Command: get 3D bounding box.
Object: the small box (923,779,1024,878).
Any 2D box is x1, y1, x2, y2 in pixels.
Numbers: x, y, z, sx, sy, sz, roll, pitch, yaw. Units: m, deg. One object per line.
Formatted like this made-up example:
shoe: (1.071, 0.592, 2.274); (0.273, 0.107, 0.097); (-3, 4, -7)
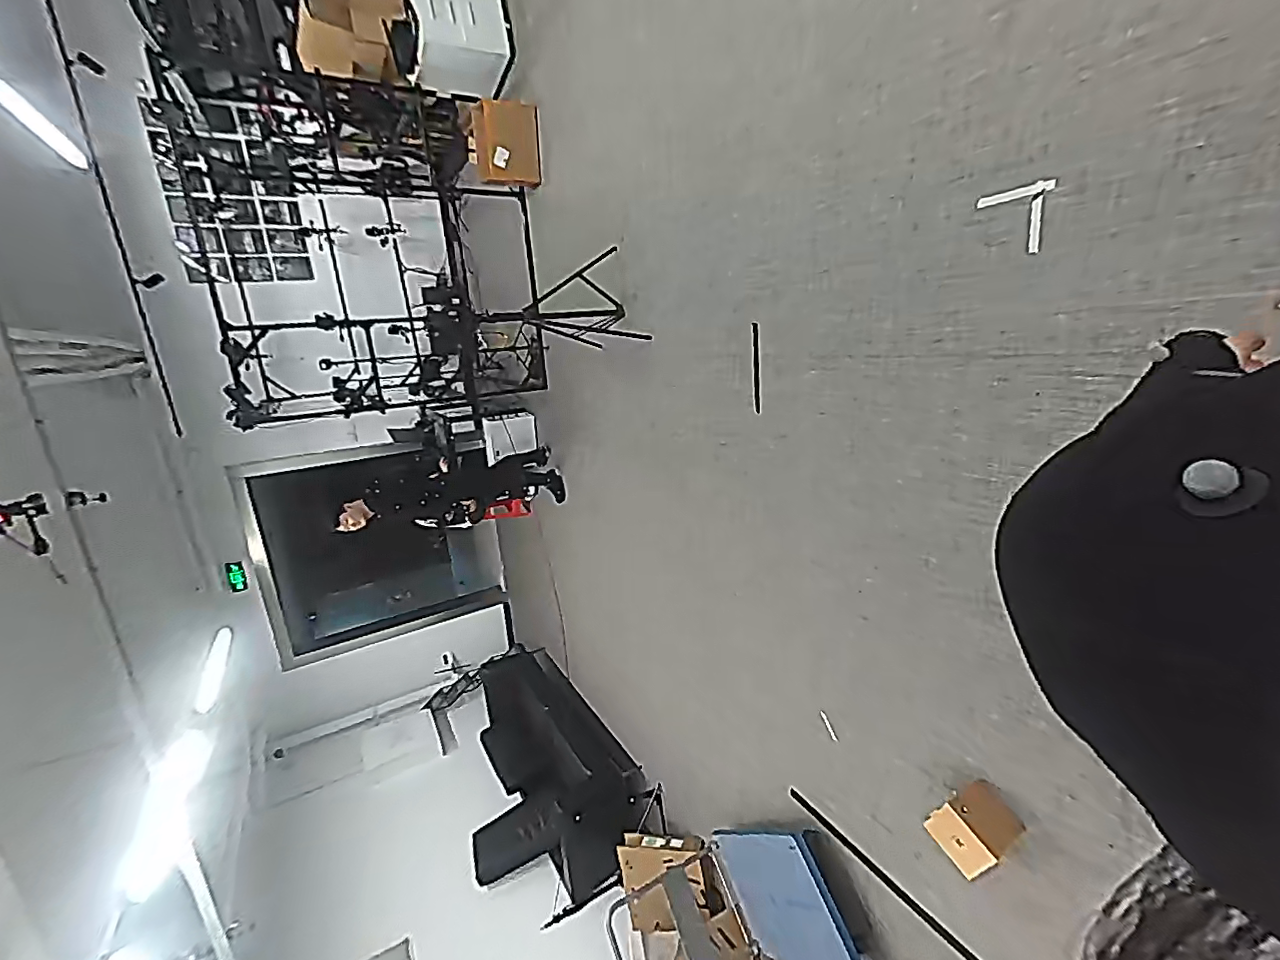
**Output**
small box: (1.029, 1.069, 1.668); (0.179, 0.176, 0.168); (51, 143, 41)
